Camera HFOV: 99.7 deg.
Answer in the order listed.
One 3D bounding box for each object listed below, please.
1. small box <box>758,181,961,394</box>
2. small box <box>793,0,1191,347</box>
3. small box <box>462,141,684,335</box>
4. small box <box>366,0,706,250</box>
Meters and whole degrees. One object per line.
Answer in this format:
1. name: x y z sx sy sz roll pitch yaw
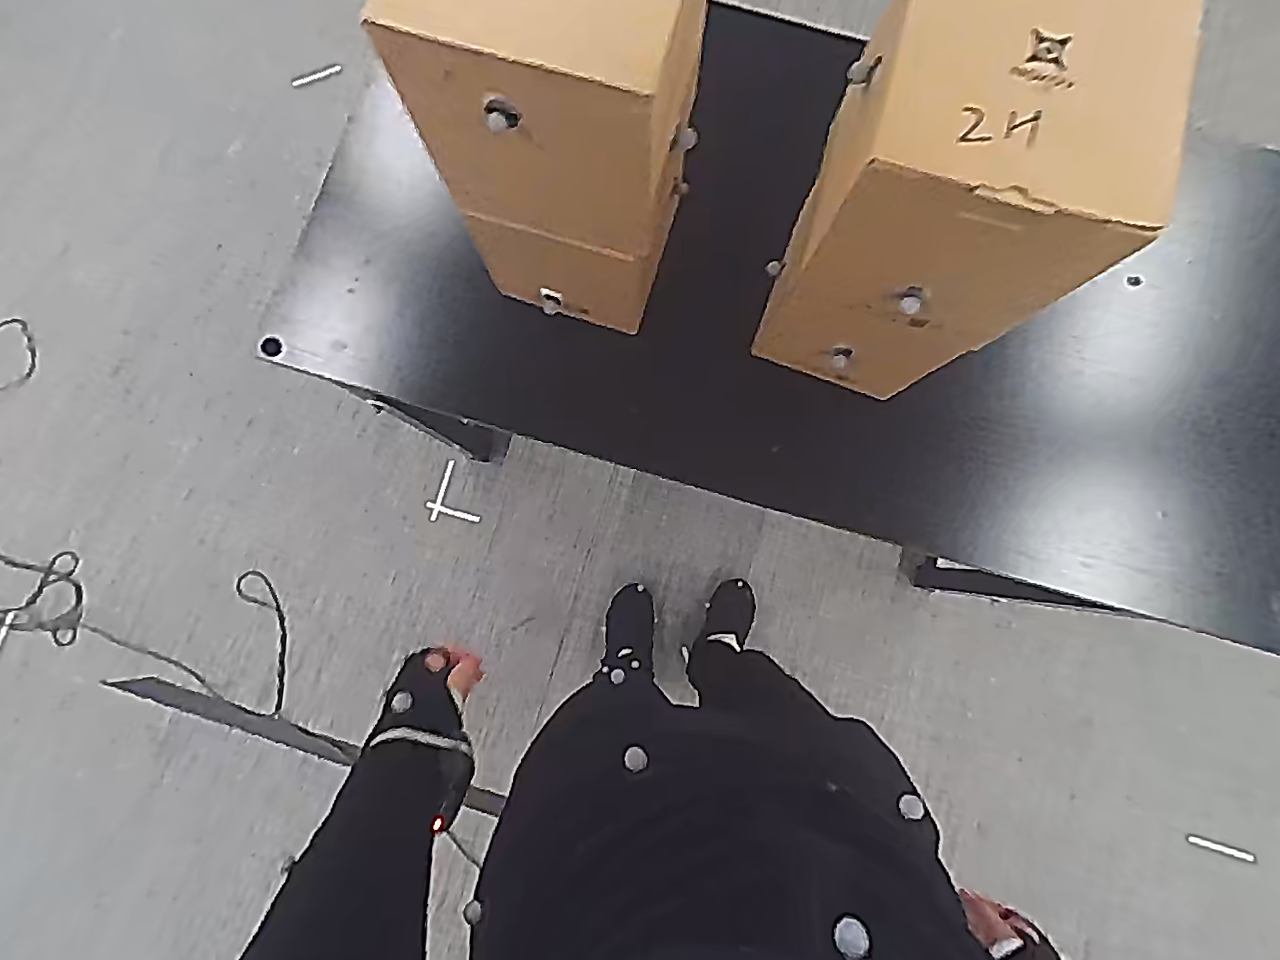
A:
1. small box: 0.232 -0.208 0.556 0.168 0.176 0.179 20 83 2
2. small box: 0.225 -0.224 0.390 0.168 0.176 0.179 16 82 2
3. small box: -0.057 -0.280 0.563 0.168 0.176 0.179 16 83 3
4. small box: -0.056 -0.301 0.400 0.179 0.176 0.168 15 82 2
